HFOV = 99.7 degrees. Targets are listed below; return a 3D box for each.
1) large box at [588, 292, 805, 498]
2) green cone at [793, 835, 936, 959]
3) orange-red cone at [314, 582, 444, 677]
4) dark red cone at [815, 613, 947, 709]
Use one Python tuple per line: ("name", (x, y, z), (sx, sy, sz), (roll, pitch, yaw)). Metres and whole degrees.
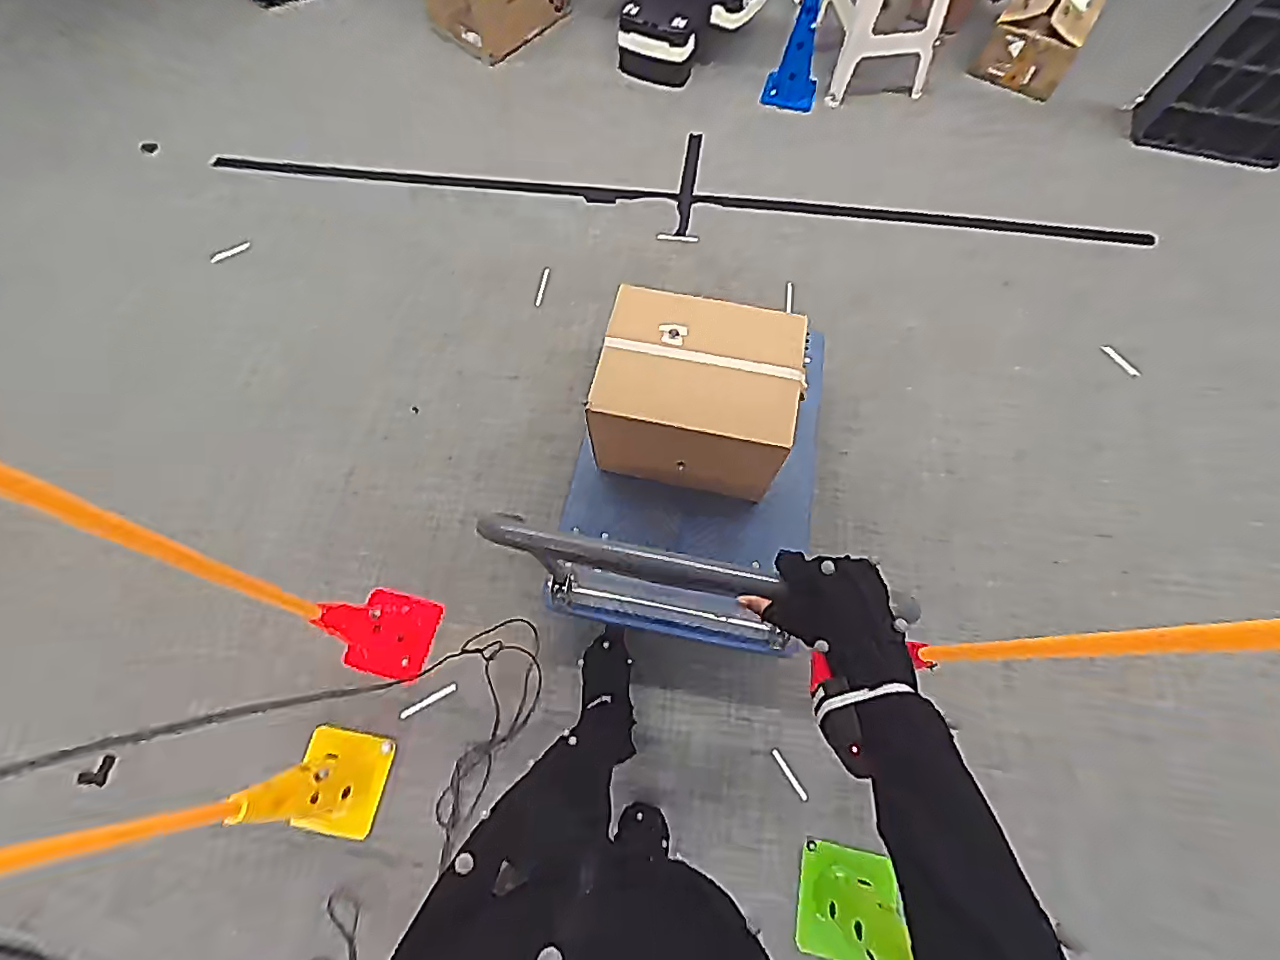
("large box", (0.126, -0.178, 1.232), (0.408, 0.320, 0.320), (12, 69, 5))
("green cone", (0.430, 0.815, 0.976), (0.202, 0.368, 0.200), (12, 68, 4))
("orange-red cone", (-0.609, 0.303, 1.194), (0.198, 0.360, 0.199), (15, 67, 5))
("dark red cone", (0.522, 0.368, 1.141), (0.201, 0.394, 0.202), (8, 68, 2))
